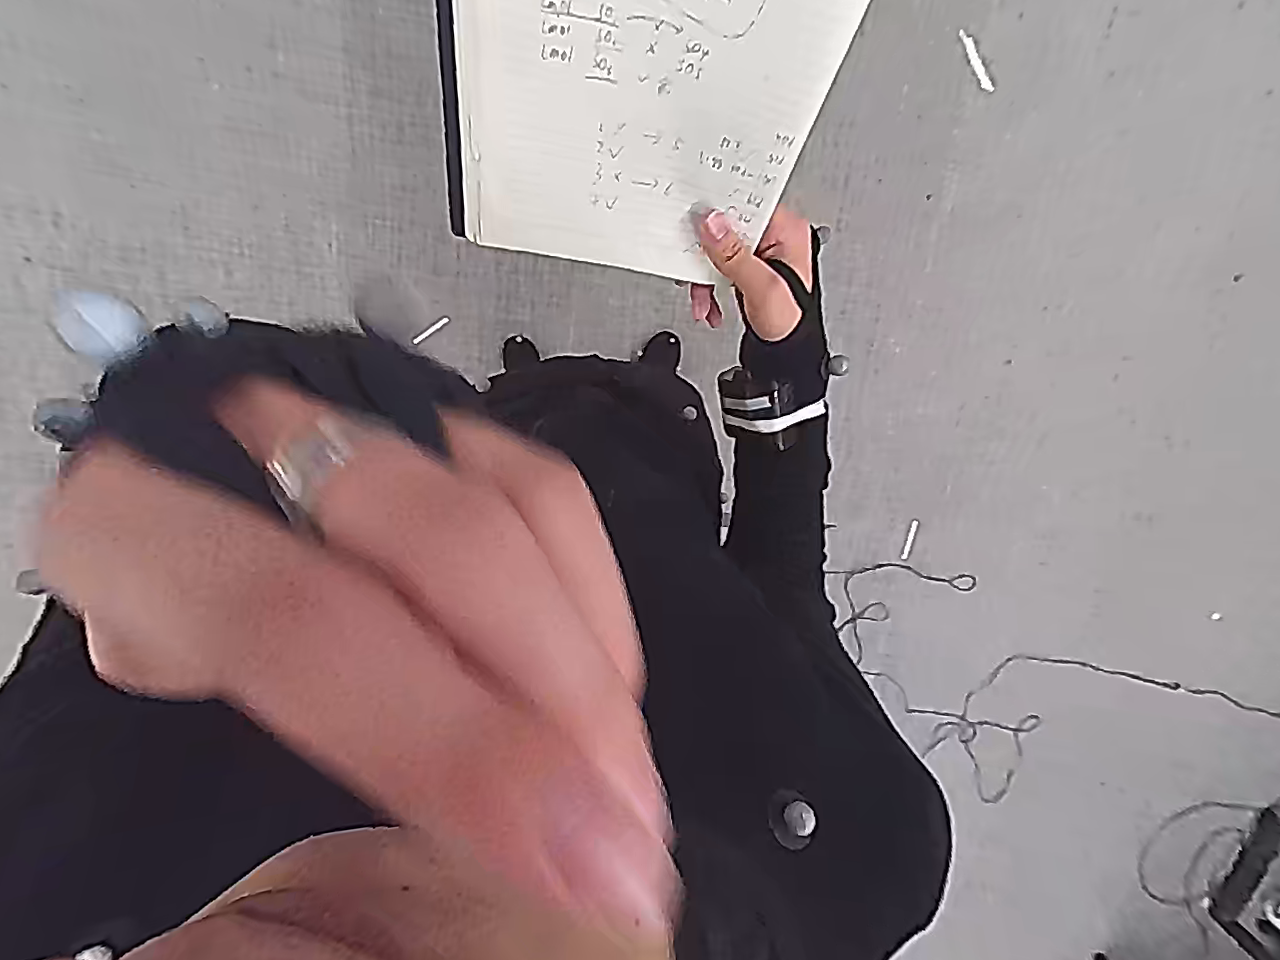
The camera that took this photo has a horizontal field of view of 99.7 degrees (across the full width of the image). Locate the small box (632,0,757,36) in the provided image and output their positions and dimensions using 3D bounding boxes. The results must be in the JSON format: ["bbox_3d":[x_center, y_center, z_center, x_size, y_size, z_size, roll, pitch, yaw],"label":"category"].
[{"bbox_3d":[0.077,-0.737,0.727,0.179,0.176,0.168,-5,107,-2],"label":"small box"}]
